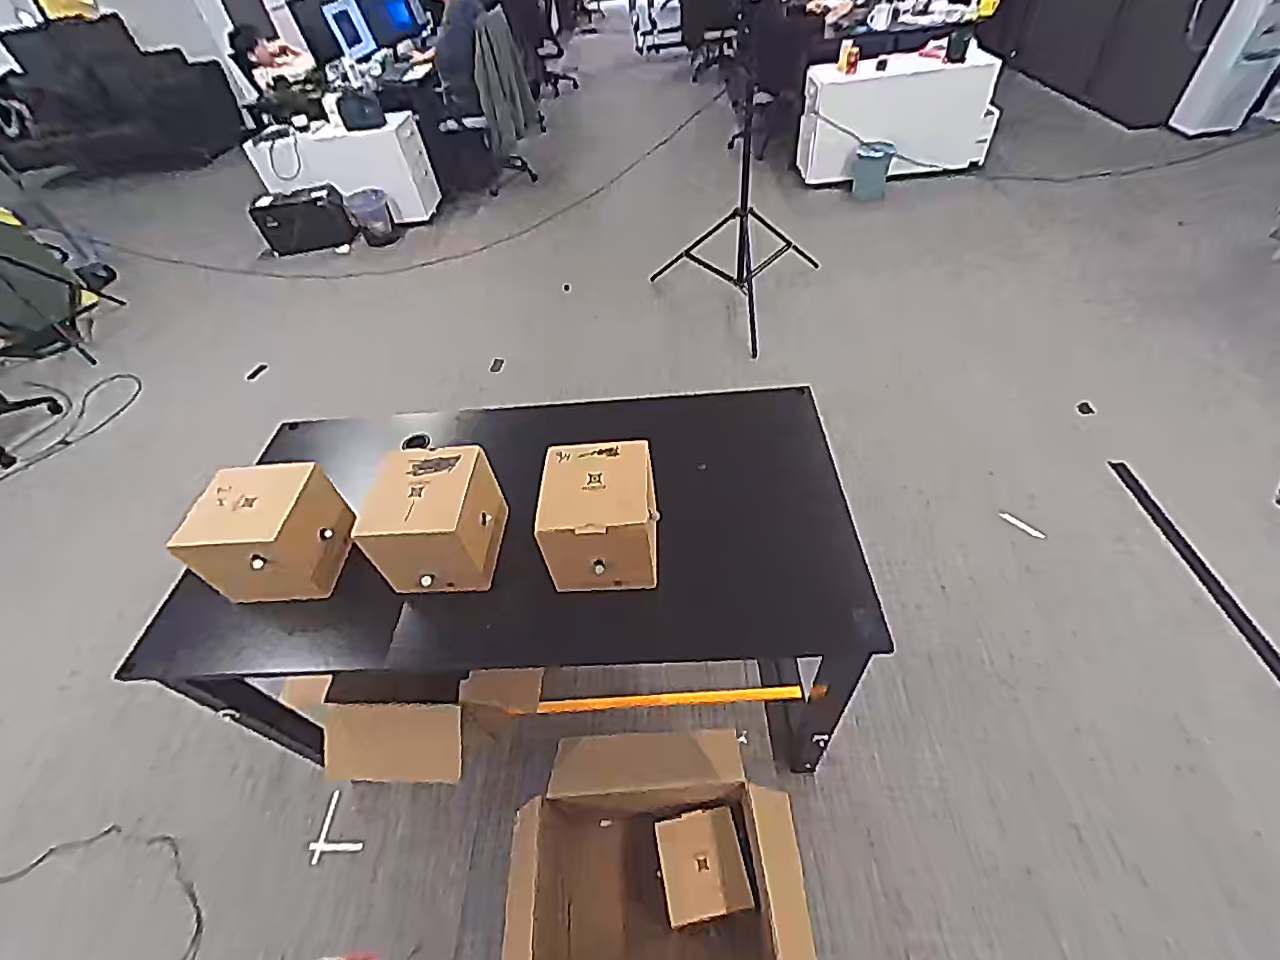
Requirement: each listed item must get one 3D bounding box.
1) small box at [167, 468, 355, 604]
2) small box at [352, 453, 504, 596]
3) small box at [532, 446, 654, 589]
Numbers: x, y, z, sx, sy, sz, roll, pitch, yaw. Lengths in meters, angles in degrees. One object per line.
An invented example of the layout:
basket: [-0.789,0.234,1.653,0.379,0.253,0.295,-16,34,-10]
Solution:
small box: [-0.624,0.098,0.923,0.179,0.176,0.168,-4,47,3]
small box: [-0.340,0.076,0.910,0.168,0.176,0.179,-3,48,5]
small box: [-0.065,0.068,0.883,0.168,0.176,0.179,-3,48,5]
